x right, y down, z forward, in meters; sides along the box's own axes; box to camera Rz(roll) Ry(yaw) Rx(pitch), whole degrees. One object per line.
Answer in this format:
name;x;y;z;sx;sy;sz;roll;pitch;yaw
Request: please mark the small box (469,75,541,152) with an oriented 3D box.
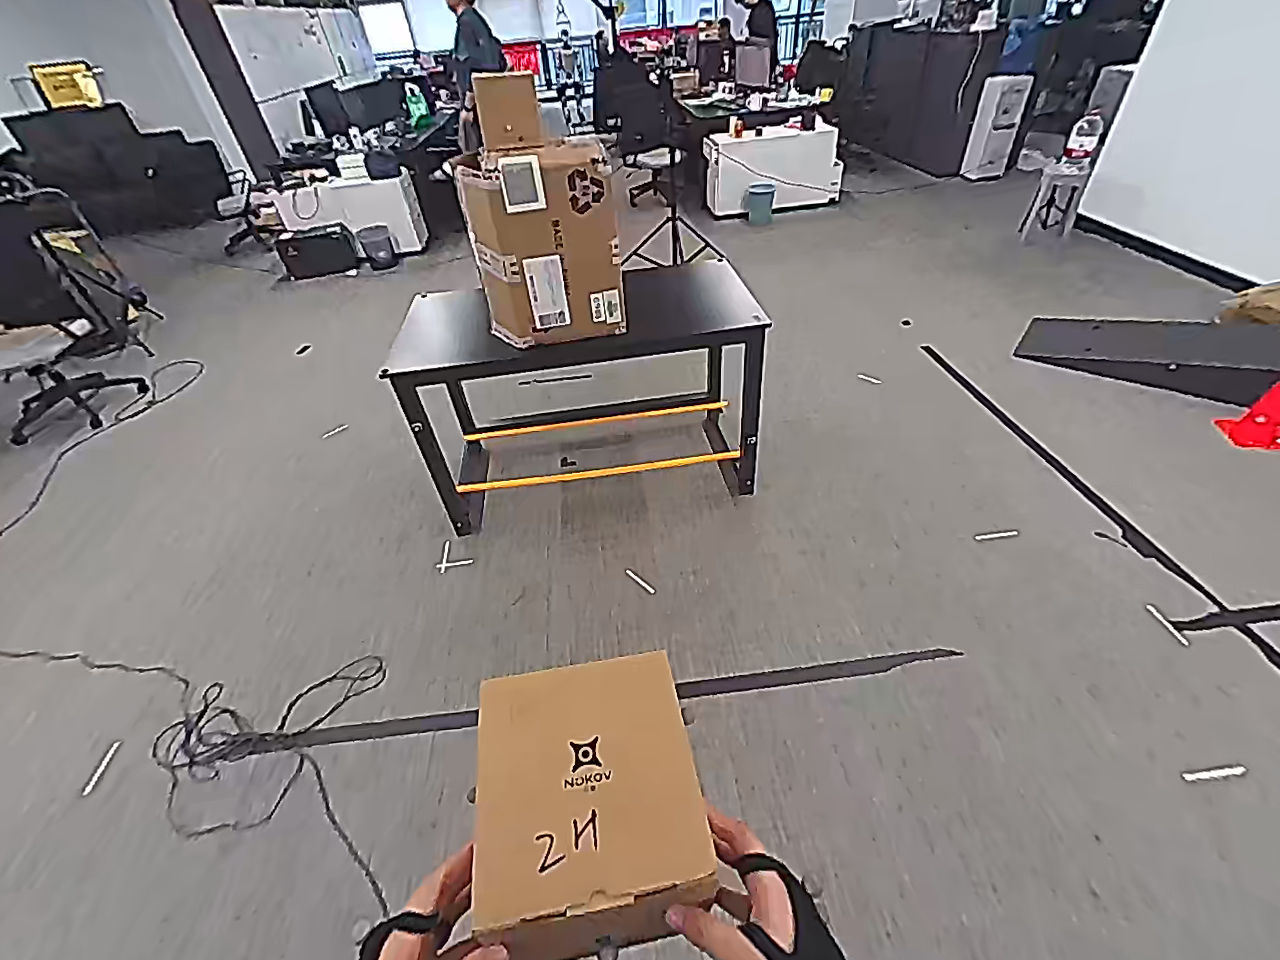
small box;-0.380;-1.042;1.536;0.168;0.176;0.179;-10;39;-8
